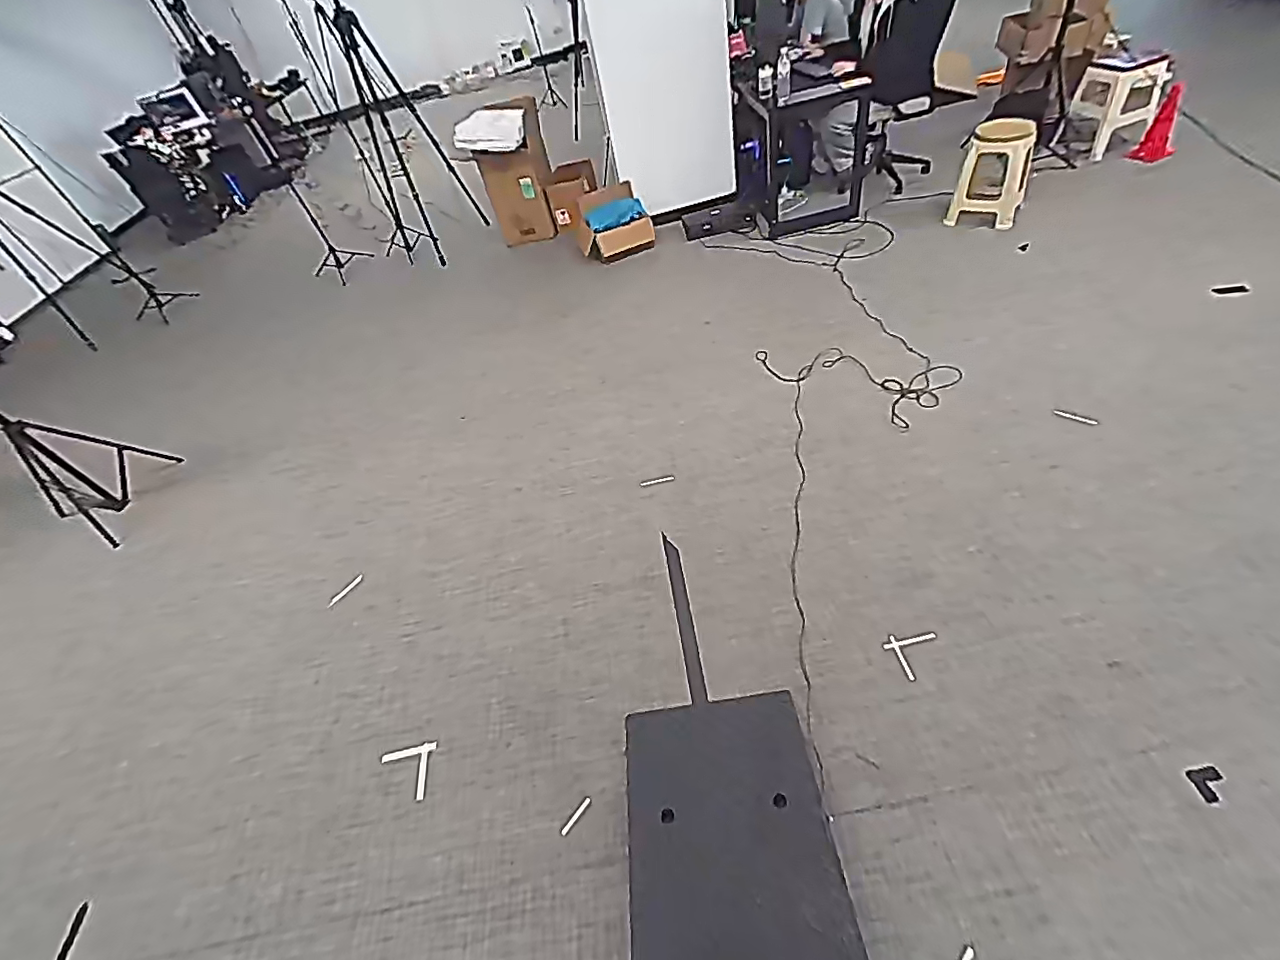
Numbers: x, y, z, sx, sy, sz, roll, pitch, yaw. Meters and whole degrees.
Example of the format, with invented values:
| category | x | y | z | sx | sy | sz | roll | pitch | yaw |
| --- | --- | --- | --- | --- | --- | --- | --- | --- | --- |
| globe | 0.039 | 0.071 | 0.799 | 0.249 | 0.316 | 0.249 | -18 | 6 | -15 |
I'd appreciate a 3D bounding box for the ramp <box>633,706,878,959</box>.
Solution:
| category | x | y | z | sx | sy | sz | roll | pitch | yaw |
| --- | --- | --- | --- | --- | --- | --- | --- | --- | --- |
| ramp | 0.241 | 0.984 | 1.172 | 0.509 | 0.206 | 0.991 | -14 | 43 | 4 |
